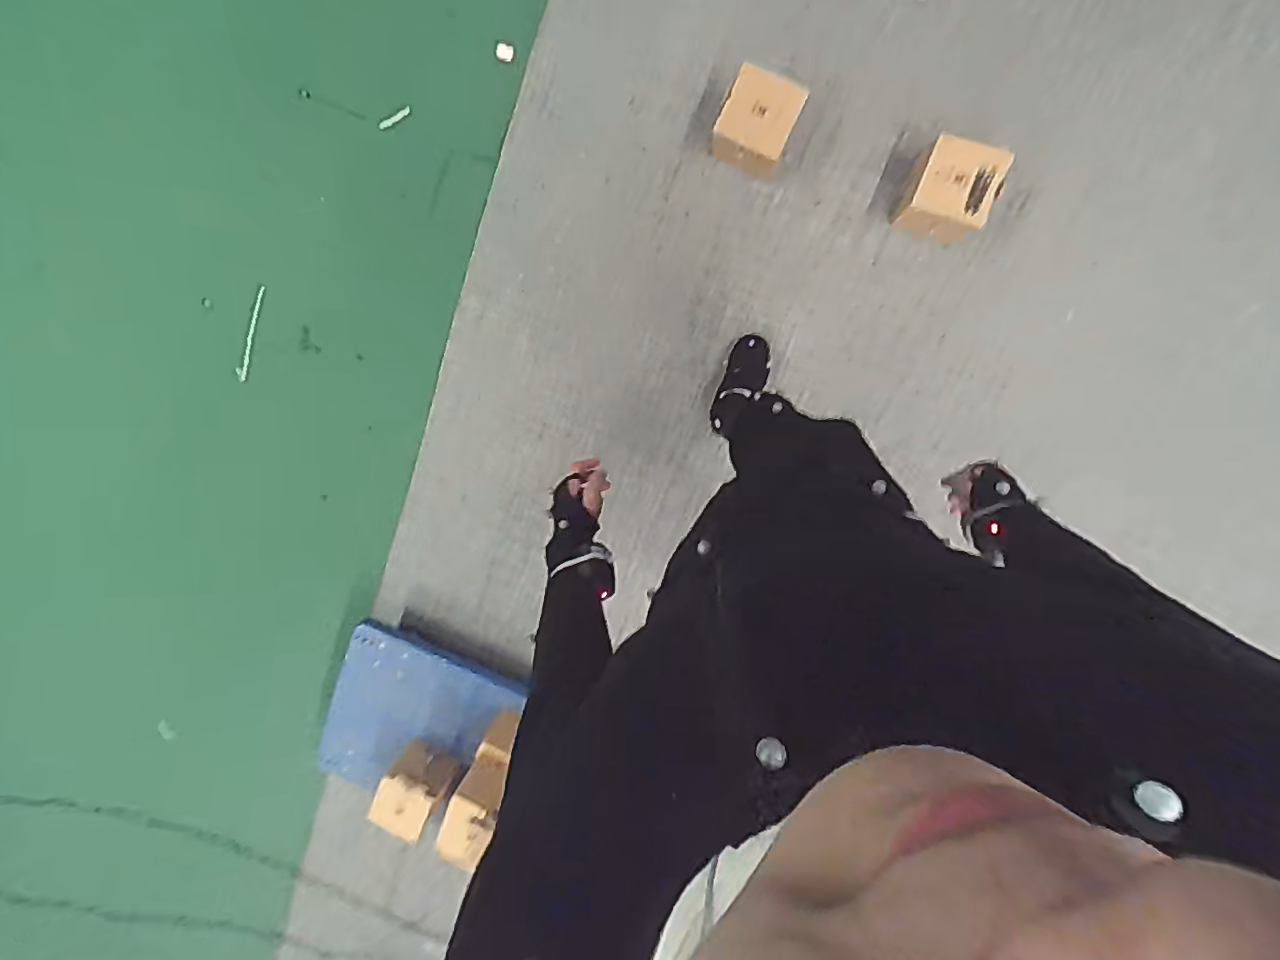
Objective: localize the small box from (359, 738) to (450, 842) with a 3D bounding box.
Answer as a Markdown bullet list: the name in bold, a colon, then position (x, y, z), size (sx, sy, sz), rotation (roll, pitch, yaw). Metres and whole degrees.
- **small box**: position (-0.705, 0.931, 1.637), size (0.168, 0.176, 0.179), rotation (26, 102, 3)

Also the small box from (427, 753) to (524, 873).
- **small box**: position (-0.421, 0.861, 1.415), size (0.168, 0.176, 0.179), rotation (23, 103, 5)

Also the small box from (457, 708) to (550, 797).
- **small box**: position (-0.389, 0.810, 1.578), size (0.168, 0.176, 0.179), rotation (-37, 94, 11)

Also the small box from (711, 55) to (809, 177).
- **small box**: position (0.292, -0.893, 1.348), size (0.179, 0.176, 0.168), rotation (28, 103, 2)
